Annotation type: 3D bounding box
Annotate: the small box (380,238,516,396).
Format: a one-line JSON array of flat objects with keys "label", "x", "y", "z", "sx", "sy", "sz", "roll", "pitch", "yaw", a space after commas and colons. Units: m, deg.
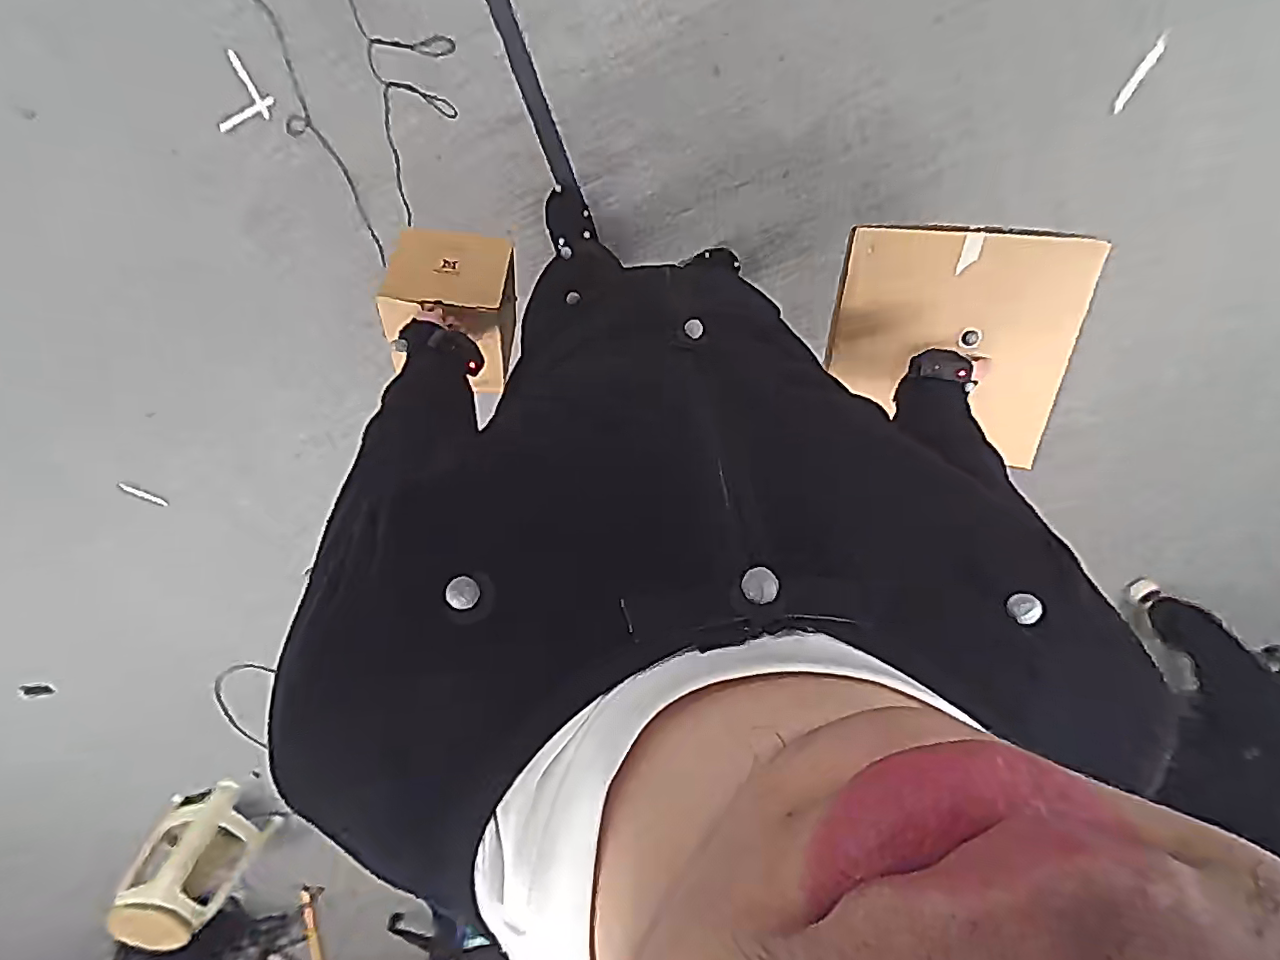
[{"label": "small box", "x": -0.290, "y": -0.253, "z": 0.860, "sx": 0.168, "sy": 0.179, "sz": 0.176, "roll": 2, "pitch": 145, "yaw": -8}]
